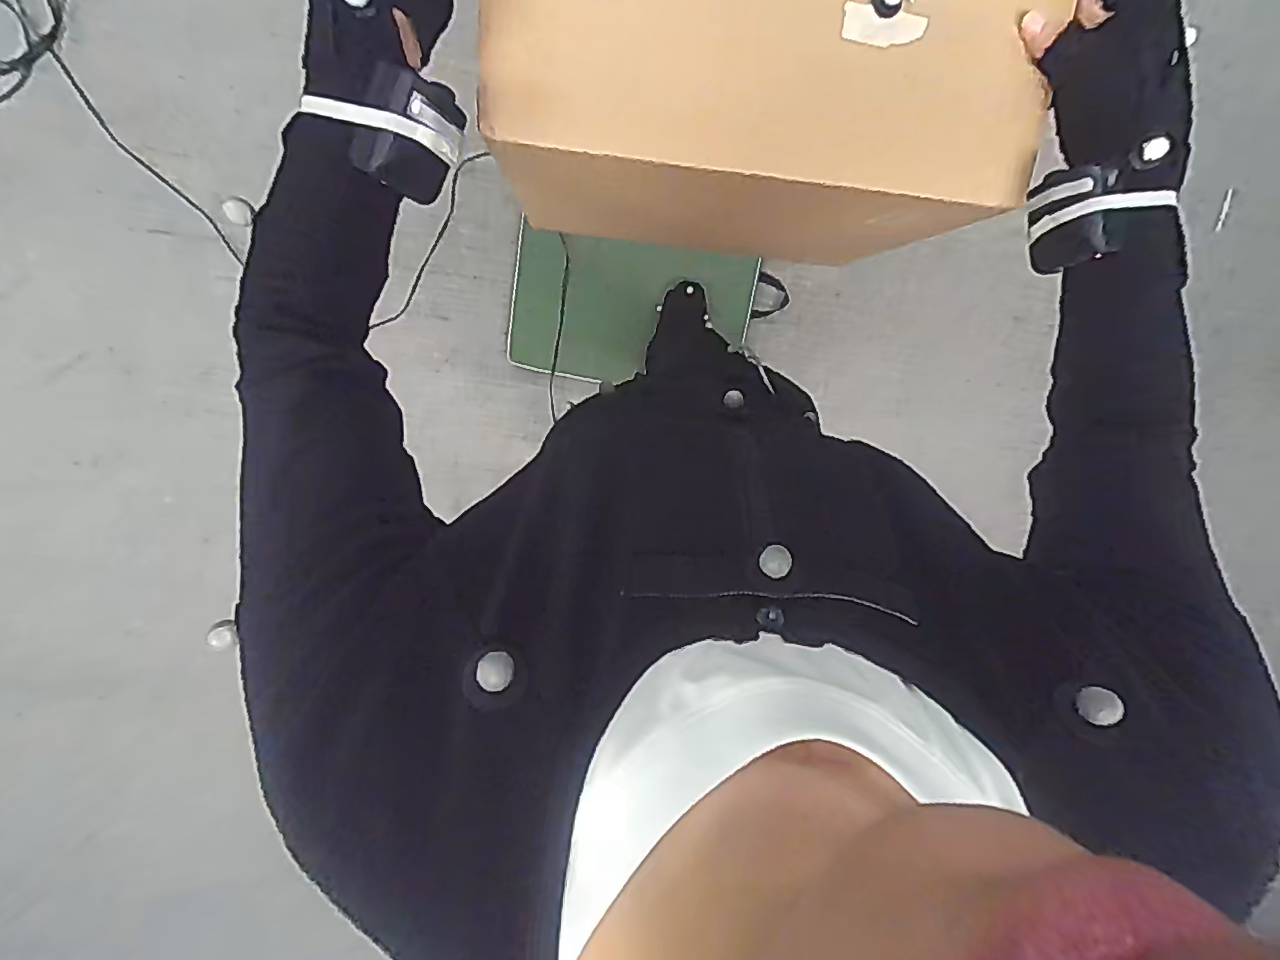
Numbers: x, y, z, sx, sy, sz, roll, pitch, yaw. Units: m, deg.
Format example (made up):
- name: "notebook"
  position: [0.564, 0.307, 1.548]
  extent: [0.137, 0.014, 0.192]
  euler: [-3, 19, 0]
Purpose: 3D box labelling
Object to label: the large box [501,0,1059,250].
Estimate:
- name: "large box"
  position: [0.093, -0.420, 0.508]
  extent: [0.408, 0.320, 0.320]
  euler: [3, 104, -7]
